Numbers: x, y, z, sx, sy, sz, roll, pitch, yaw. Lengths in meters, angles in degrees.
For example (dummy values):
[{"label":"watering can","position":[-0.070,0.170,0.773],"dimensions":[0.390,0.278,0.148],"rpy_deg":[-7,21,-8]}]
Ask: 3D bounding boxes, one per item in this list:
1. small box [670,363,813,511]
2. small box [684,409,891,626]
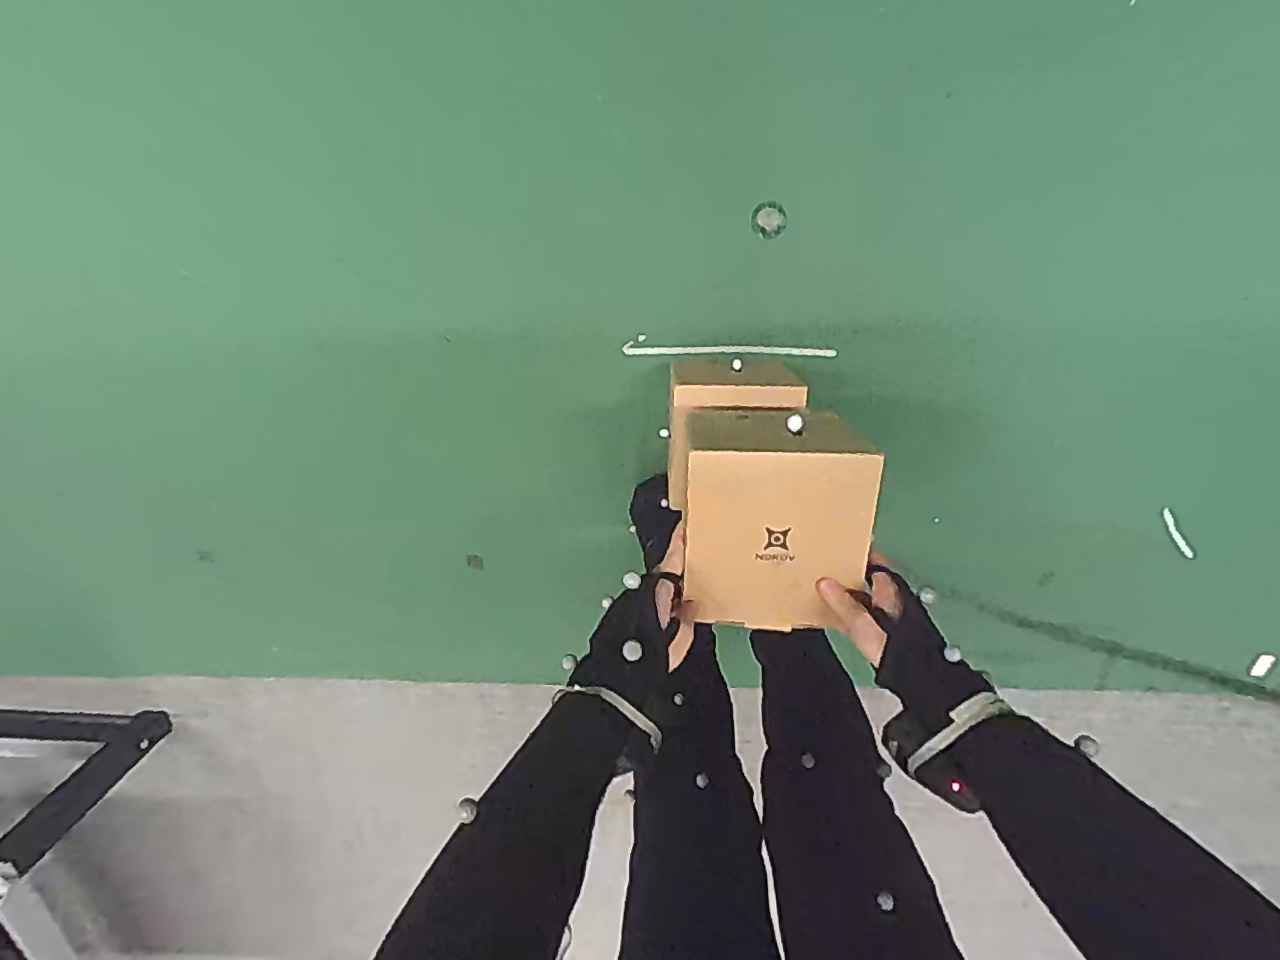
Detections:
[{"label":"small box","position":[0.130,-0.066,0.764],"dimensions":[0.168,0.176,0.179],"rpy_deg":[3,112,1]},{"label":"small box","position":[0.133,0.027,0.559],"dimensions":[0.168,0.176,0.179],"rpy_deg":[2,110,3]}]
